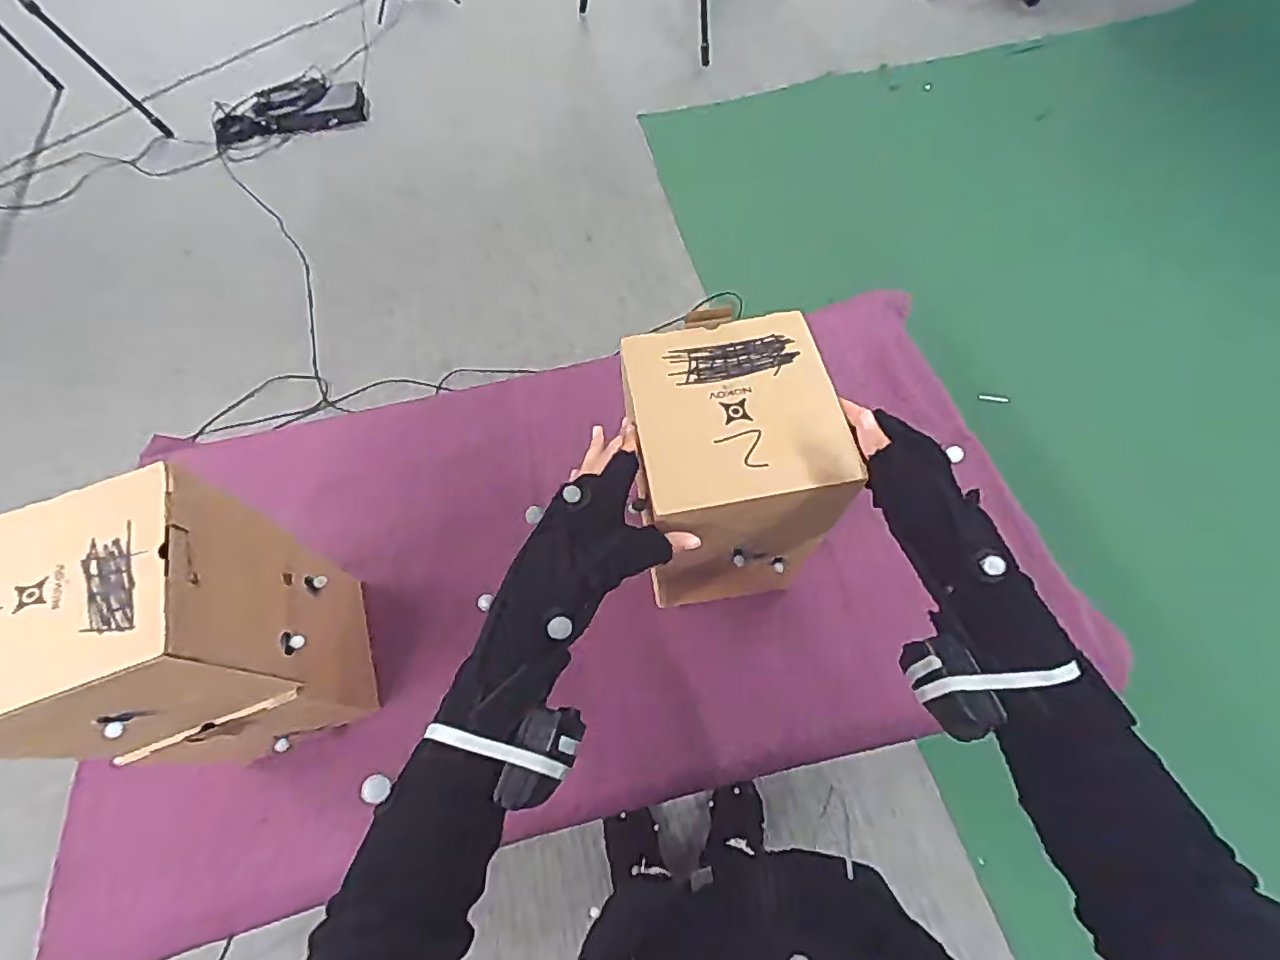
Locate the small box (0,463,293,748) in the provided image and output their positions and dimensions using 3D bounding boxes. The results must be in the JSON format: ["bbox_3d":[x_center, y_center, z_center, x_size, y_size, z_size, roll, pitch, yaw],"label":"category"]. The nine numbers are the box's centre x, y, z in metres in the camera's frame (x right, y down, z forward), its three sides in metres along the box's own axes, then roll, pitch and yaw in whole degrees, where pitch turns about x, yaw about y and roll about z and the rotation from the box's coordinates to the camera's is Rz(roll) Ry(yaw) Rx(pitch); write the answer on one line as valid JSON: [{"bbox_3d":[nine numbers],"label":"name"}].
[{"bbox_3d":[-0.429,0.115,0.463,0.179,0.176,0.168,-18,62,-6],"label":"small box"}]

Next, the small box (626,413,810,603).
[{"bbox_3d":[0.085,0.042,0.662,0.179,0.176,0.168,-9,63,-2],"label":"small box"}]

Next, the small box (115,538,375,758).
[{"bbox_3d":[-0.427,0.195,0.610,0.168,0.176,0.179,-20,64,-7],"label":"small box"}]
